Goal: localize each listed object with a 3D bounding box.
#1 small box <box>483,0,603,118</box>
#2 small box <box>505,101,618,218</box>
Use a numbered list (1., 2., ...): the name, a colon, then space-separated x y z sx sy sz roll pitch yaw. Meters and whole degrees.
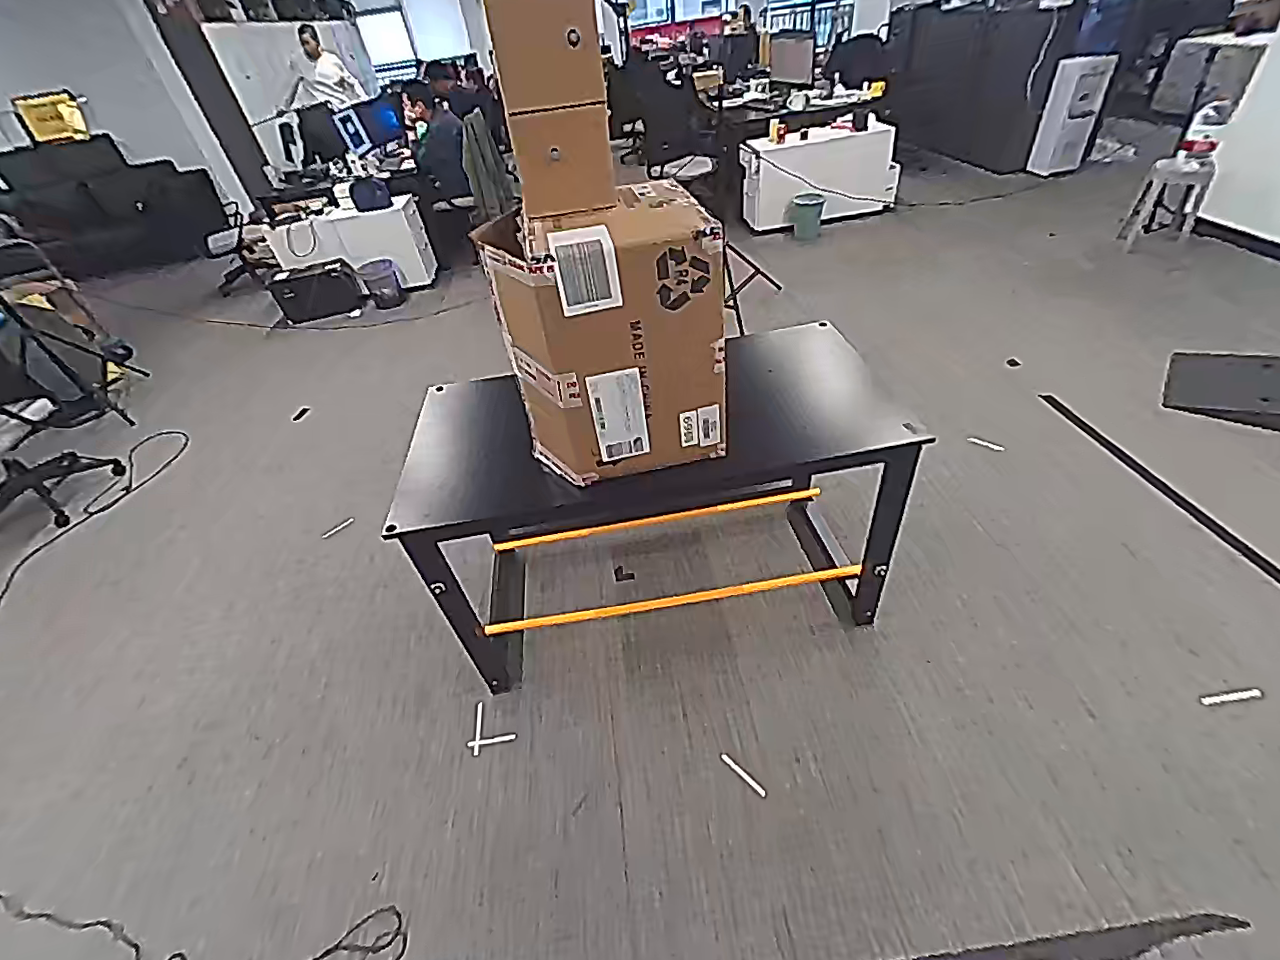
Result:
1. small box: -0.164 -0.740 0.932 0.179 0.176 0.168 -13 38 -6
2. small box: -0.149 -0.616 1.038 0.179 0.176 0.168 -11 39 -4
